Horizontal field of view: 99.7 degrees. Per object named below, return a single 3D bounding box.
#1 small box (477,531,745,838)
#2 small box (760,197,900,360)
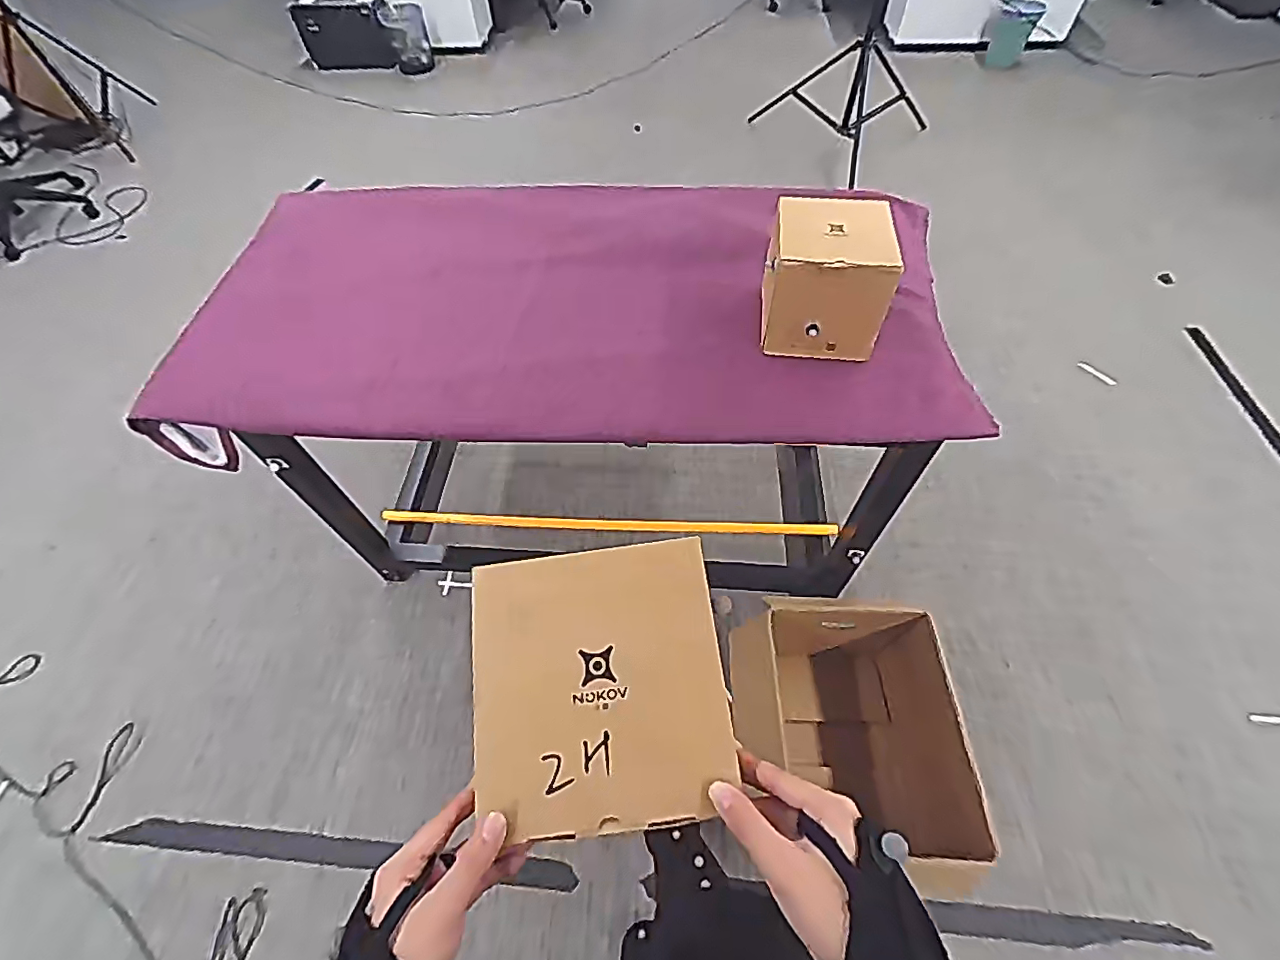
[{"bbox_3d":[-0.022,0.155,0.431,0.168,0.176,0.179,-9,70,1],"label":"small box"},{"bbox_3d":[0.282,-0.313,0.844,0.168,0.176,0.179,5,55,6],"label":"small box"}]
